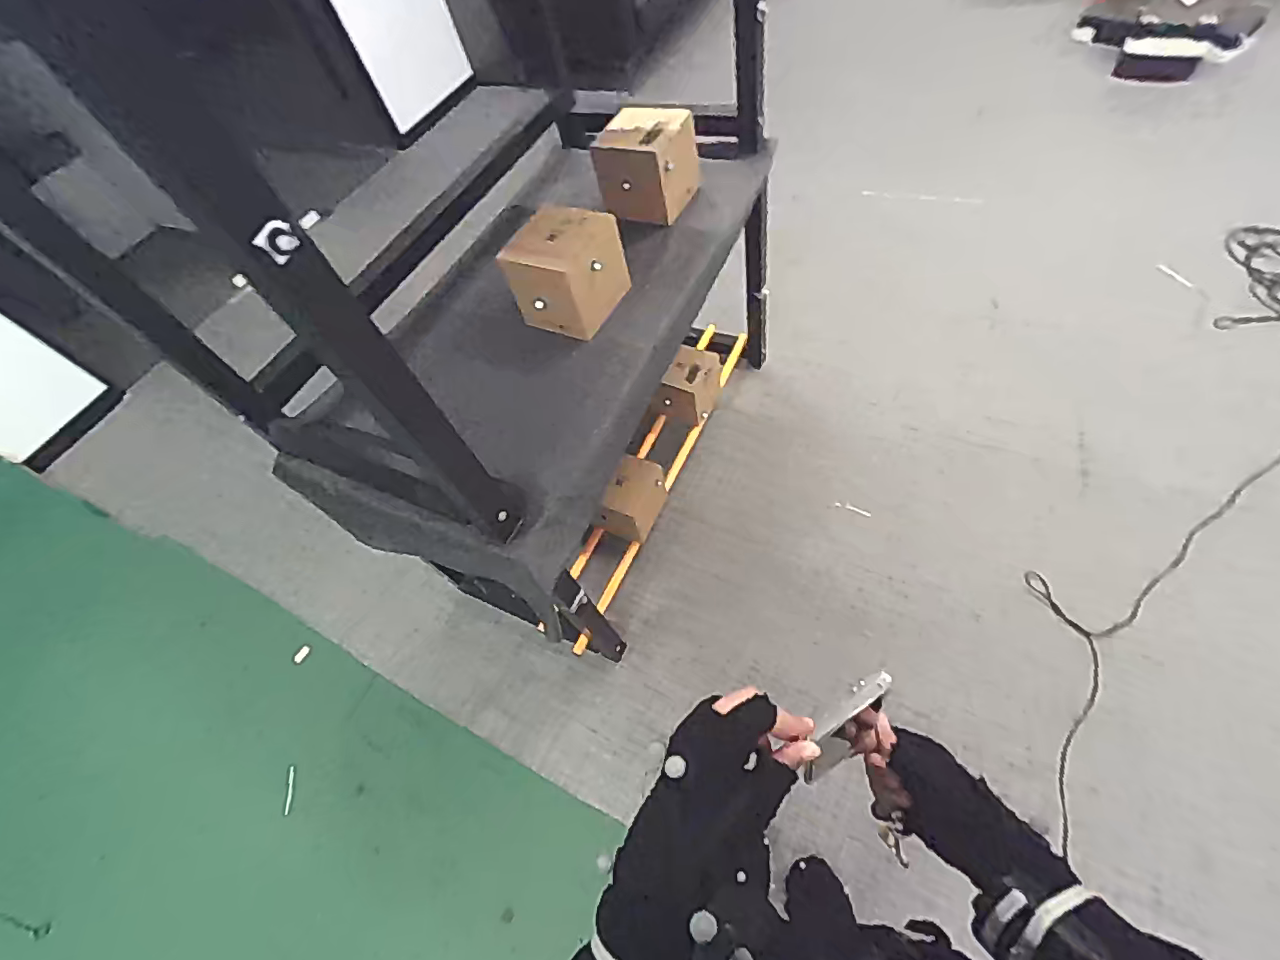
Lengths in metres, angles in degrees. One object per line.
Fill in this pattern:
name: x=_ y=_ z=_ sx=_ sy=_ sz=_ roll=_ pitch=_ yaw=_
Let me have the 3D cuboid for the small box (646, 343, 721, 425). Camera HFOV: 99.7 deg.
small box: x=0.143 y=-0.294 z=1.688 sx=0.179 sy=0.176 sz=0.168 roll=22 pitch=64 yaw=24

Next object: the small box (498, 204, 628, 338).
small box: x=-0.140 y=-0.411 z=1.073 sx=0.168 sy=0.176 sz=0.179 roll=21 pitch=64 yaw=24
